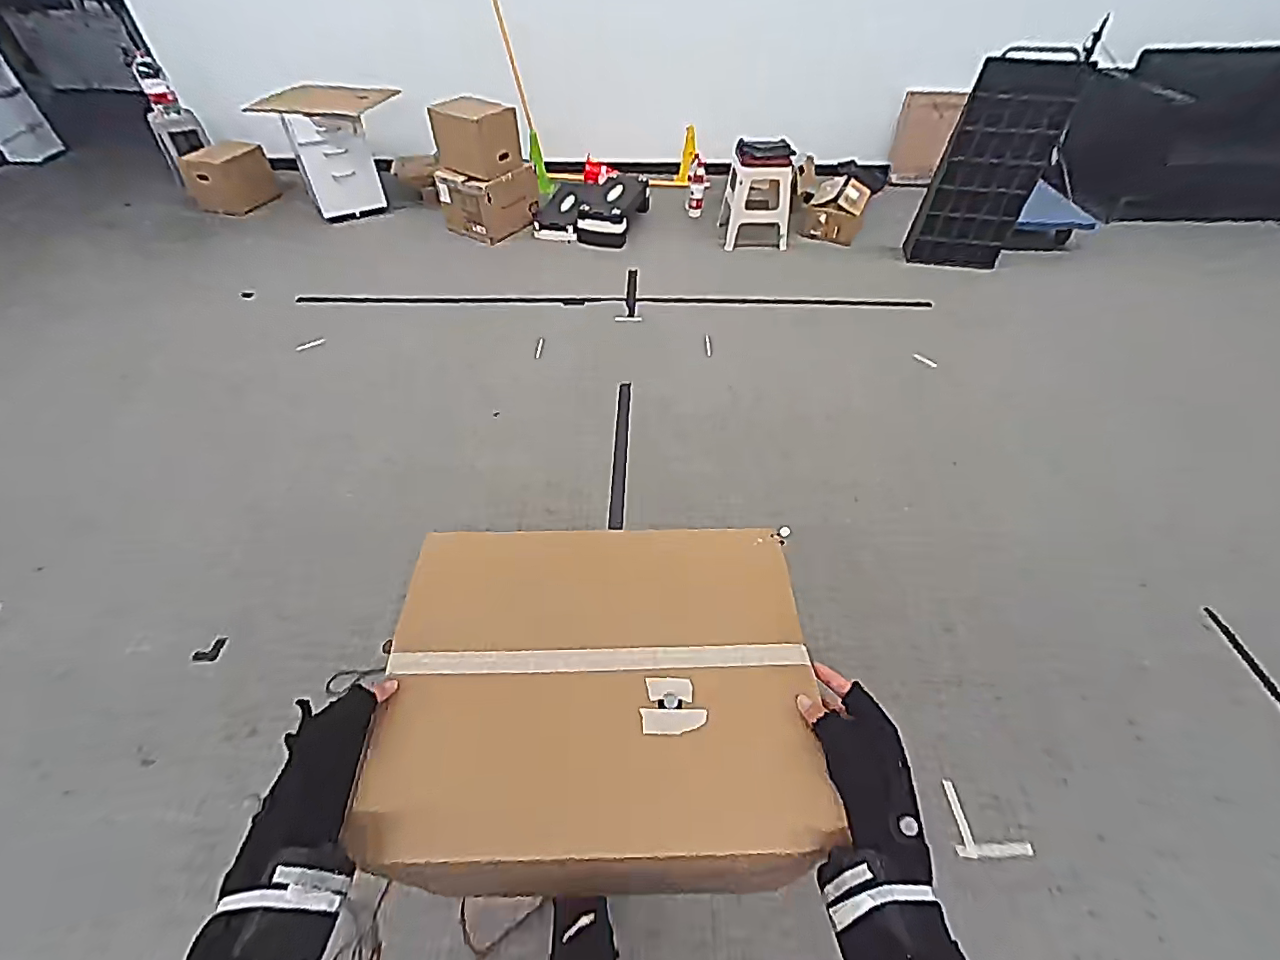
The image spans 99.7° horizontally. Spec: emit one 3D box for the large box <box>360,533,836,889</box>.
[{"bbox_3d":[-0.040,0.280,0.653,0.408,0.320,0.320,0,49,-1],"label":"large box"}]
